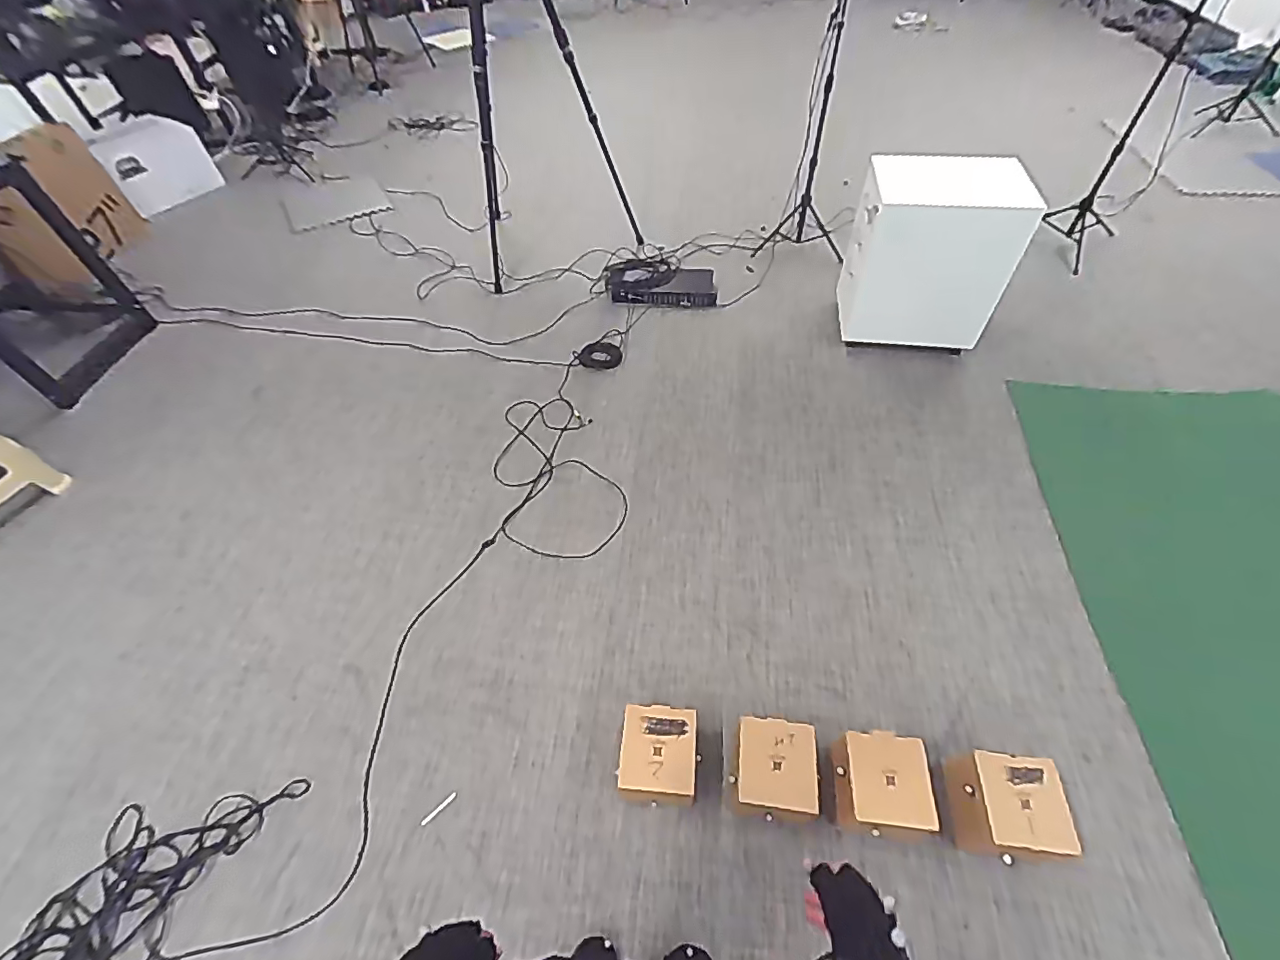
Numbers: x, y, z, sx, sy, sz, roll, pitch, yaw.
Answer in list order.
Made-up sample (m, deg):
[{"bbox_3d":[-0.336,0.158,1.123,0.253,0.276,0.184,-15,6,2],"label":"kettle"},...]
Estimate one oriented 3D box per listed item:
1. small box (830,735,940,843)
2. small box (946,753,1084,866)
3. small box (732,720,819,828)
[{"bbox_3d":[0.530,0.687,1.197,0.168,0.176,0.179,4,51,5],"label":"small box"},{"bbox_3d":[0.790,0.711,1.165,0.168,0.176,0.179,4,52,6],"label":"small box"},{"bbox_3d":[0.300,0.667,1.220,0.168,0.176,0.179,5,51,6],"label":"small box"}]
